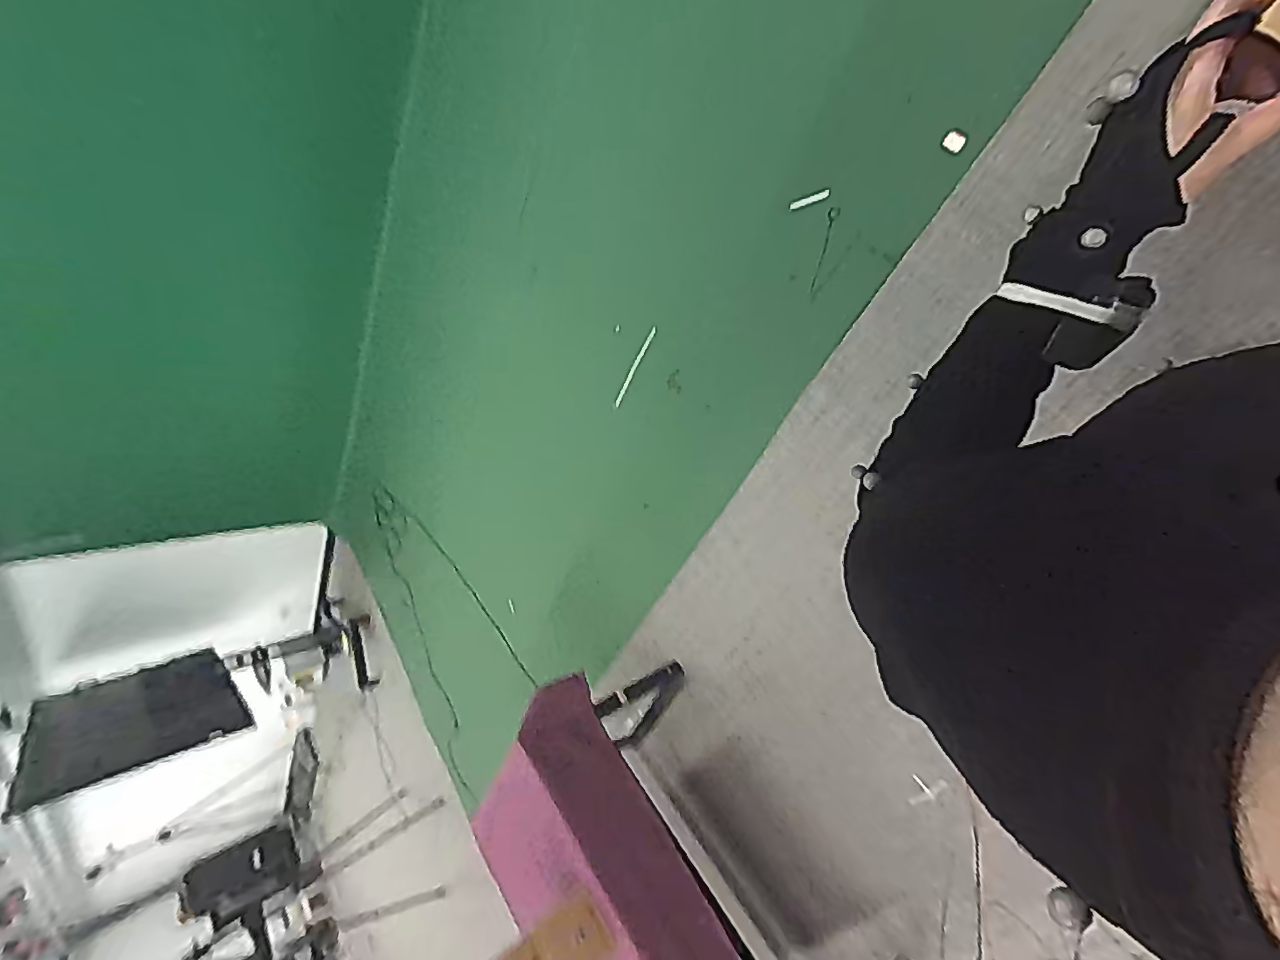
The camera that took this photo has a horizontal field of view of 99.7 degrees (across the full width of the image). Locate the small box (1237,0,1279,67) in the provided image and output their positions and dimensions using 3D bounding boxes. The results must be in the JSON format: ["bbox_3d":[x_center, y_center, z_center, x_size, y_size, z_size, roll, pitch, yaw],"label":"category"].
[{"bbox_3d":[0.431,-0.237,0.224,0.168,0.176,0.179,53,144,18],"label":"small box"}]

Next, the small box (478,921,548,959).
[{"bbox_3d":[-0.317,1.207,1.291,0.168,0.176,0.179,51,128,28],"label":"small box"}]

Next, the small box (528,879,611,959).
[{"bbox_3d":[-0.199,1.188,1.402,0.168,0.176,0.179,49,127,29],"label":"small box"}]
